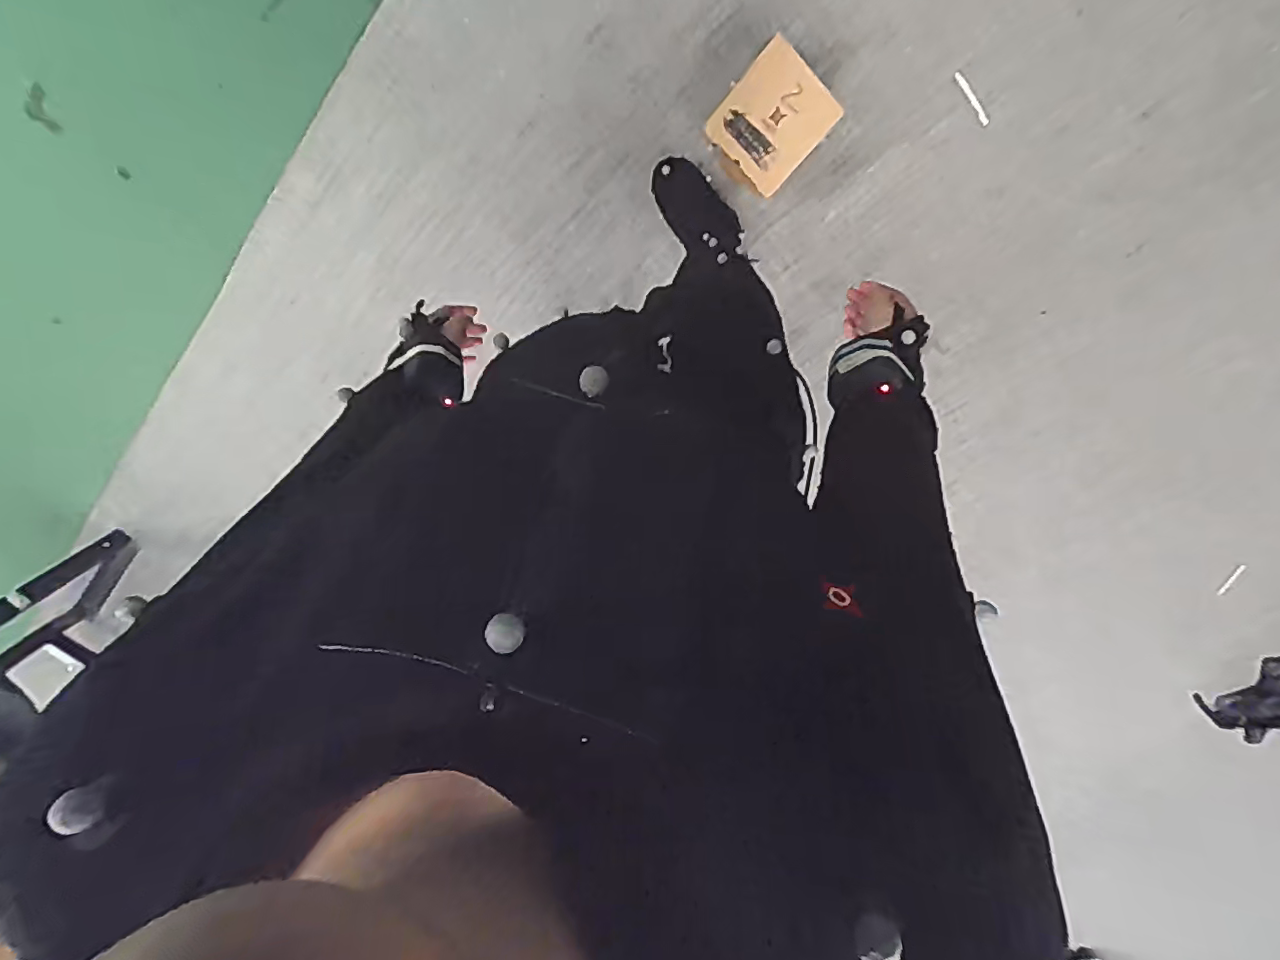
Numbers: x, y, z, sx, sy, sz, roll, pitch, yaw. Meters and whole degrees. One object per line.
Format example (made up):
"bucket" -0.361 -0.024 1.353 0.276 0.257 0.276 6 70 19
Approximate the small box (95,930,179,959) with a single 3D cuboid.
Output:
"small box" -1.327 1.285 1.370 0.168 0.176 0.179 39 117 -12
